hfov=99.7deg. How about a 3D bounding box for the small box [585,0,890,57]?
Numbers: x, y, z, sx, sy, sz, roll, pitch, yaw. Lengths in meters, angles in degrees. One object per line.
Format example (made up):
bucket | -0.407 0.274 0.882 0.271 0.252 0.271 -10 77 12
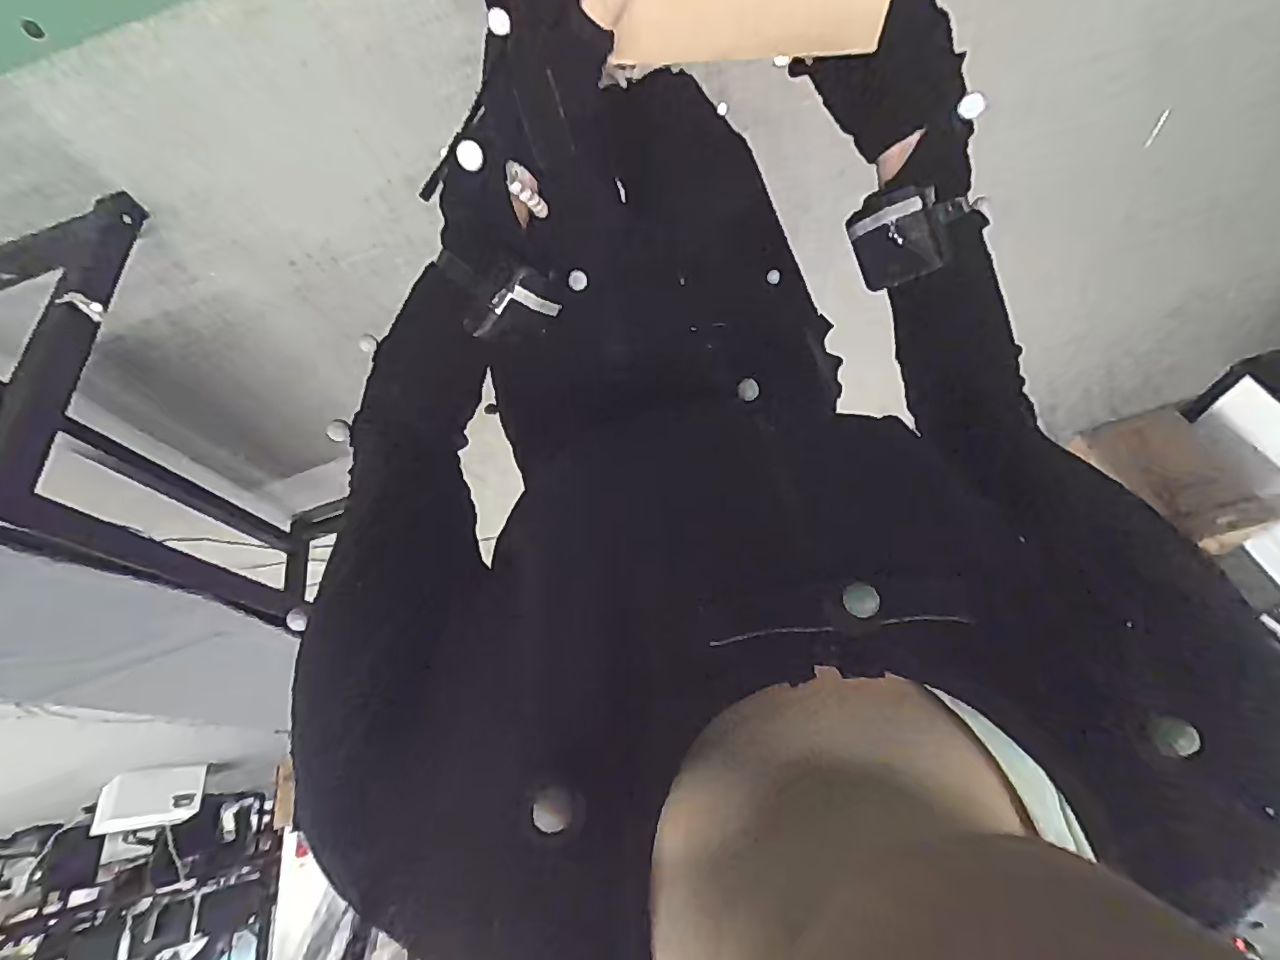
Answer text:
small box | 0.051 -0.371 0.308 0.179 0.176 0.168 -6 144 -5
